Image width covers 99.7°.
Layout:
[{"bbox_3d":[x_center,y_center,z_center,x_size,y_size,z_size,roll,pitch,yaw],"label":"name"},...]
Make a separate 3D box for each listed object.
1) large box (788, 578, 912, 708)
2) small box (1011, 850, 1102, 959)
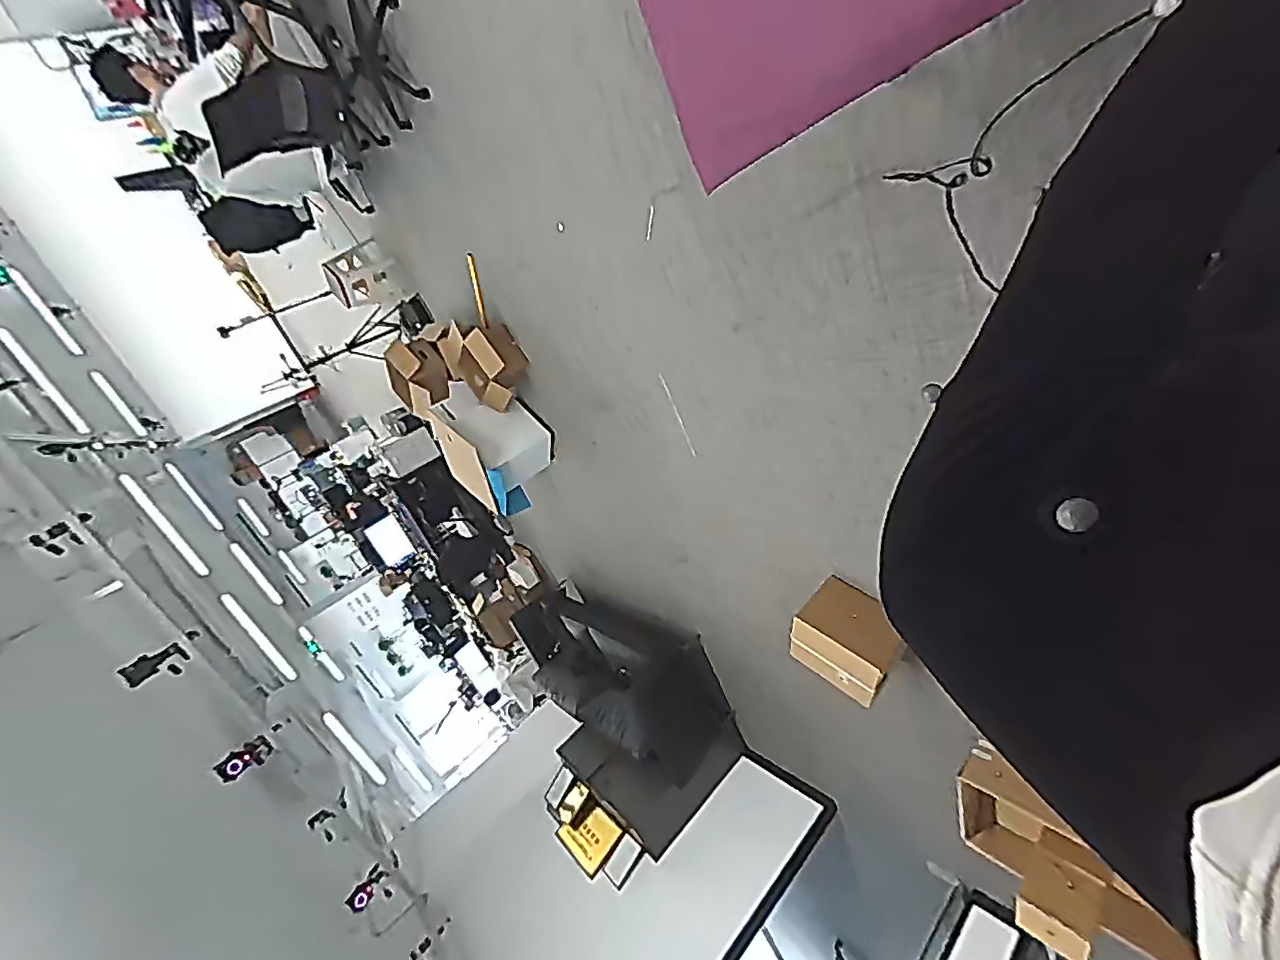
[{"bbox_3d":[0.926,0.715,2.421,0.408,0.320,0.320,29,143,36],"label":"large box"},{"bbox_3d":[1.173,1.206,1.524,0.168,0.176,0.179,15,132,48],"label":"small box"}]
